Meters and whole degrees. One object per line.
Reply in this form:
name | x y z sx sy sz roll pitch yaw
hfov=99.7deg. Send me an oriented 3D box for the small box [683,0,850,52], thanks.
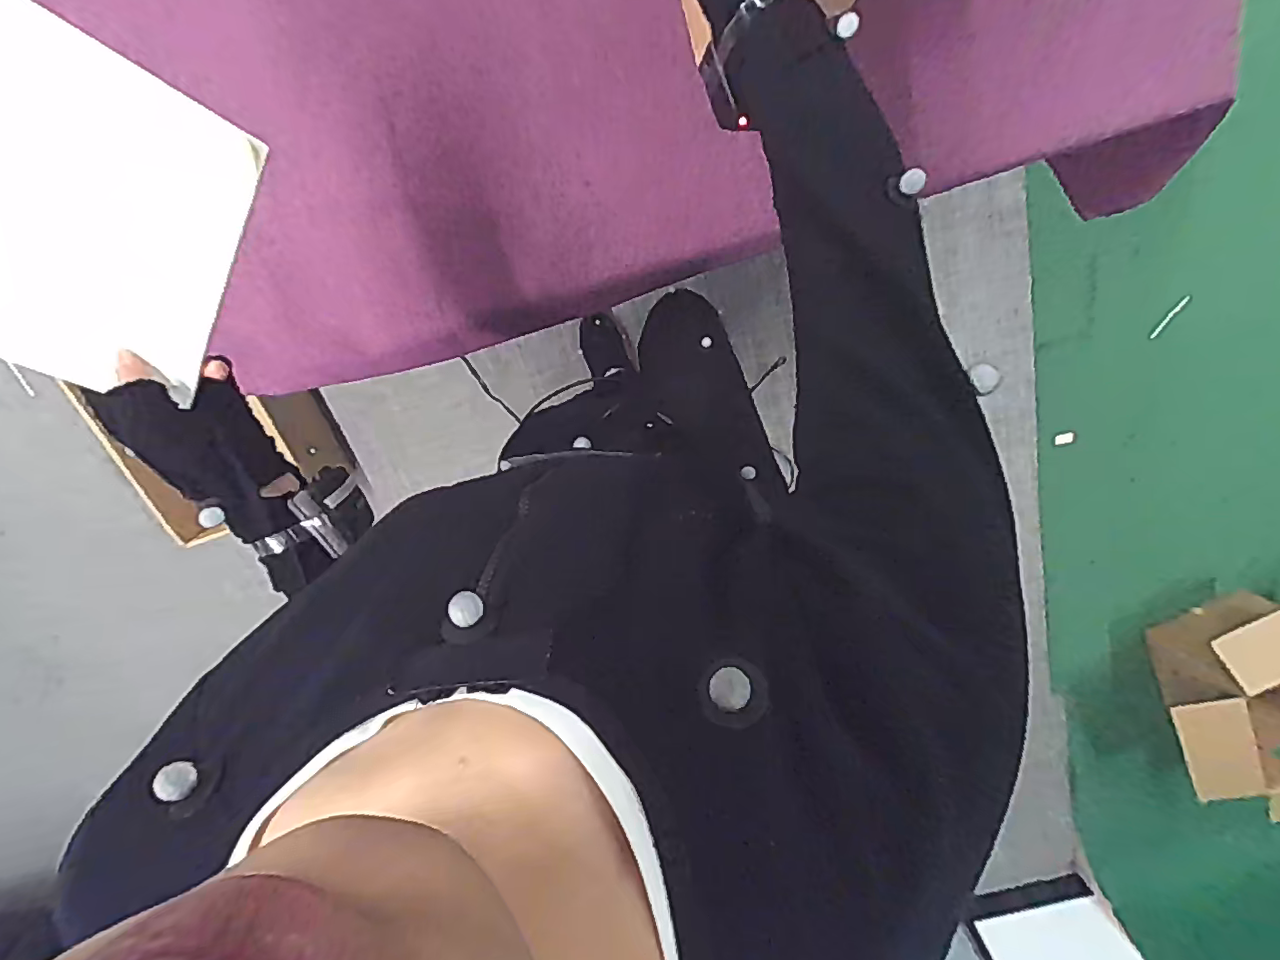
small box | 0.115 -0.513 0.467 0.168 0.176 0.179 -18 109 5
